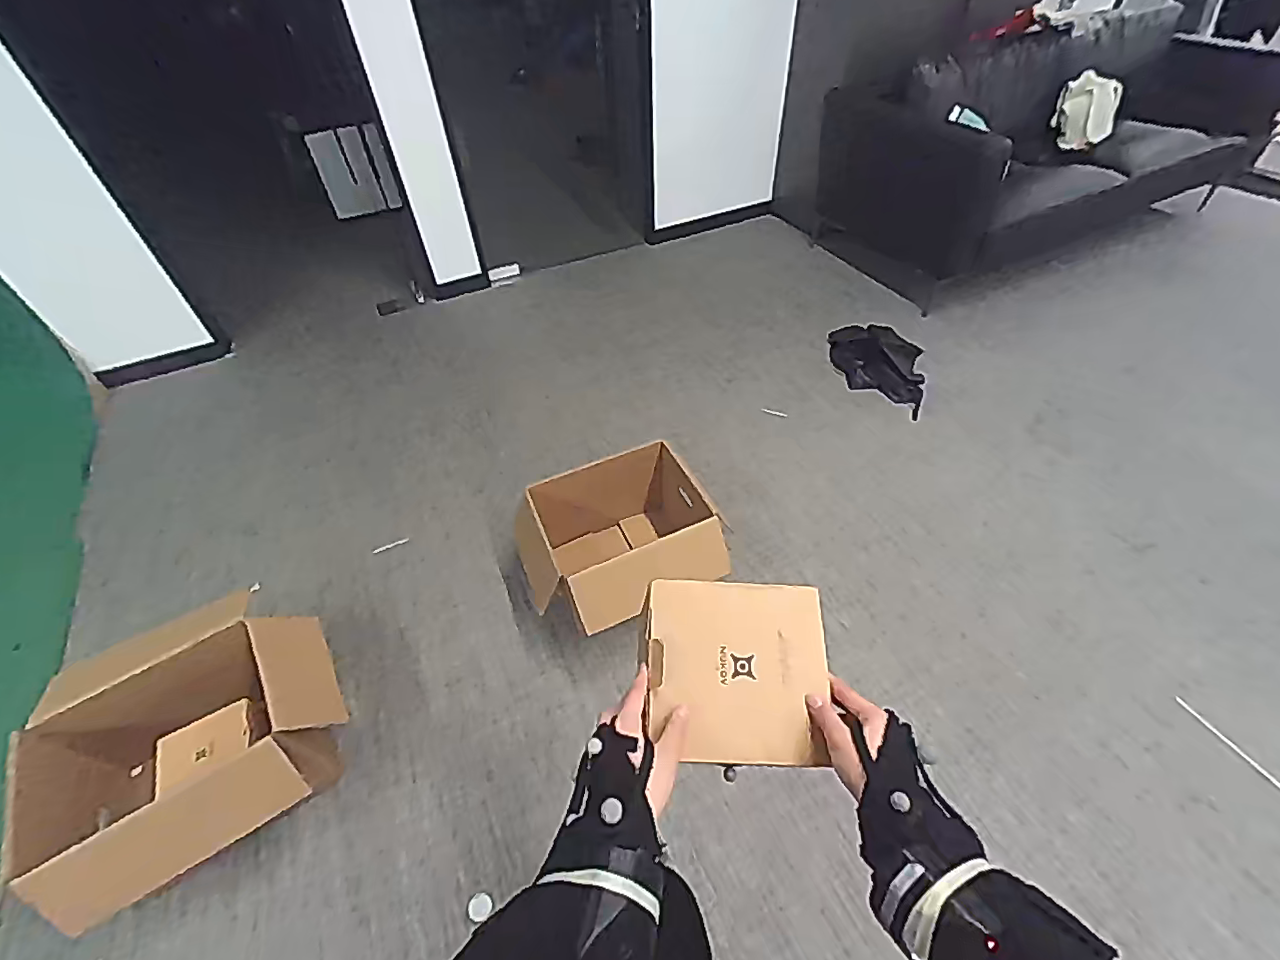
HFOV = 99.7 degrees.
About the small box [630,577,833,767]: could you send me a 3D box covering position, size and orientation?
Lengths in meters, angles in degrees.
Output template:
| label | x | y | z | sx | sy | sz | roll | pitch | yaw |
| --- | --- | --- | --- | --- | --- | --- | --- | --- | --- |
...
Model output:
| label | x | y | z | sx | sy | sz | roll | pitch | yaw |
| --- | --- | --- | --- | --- | --- | --- | --- | --- | --- |
| small box | 0.081 | 0.211 | 0.578 | 0.179 | 0.176 | 0.168 | 4 | 63 | -4 |
